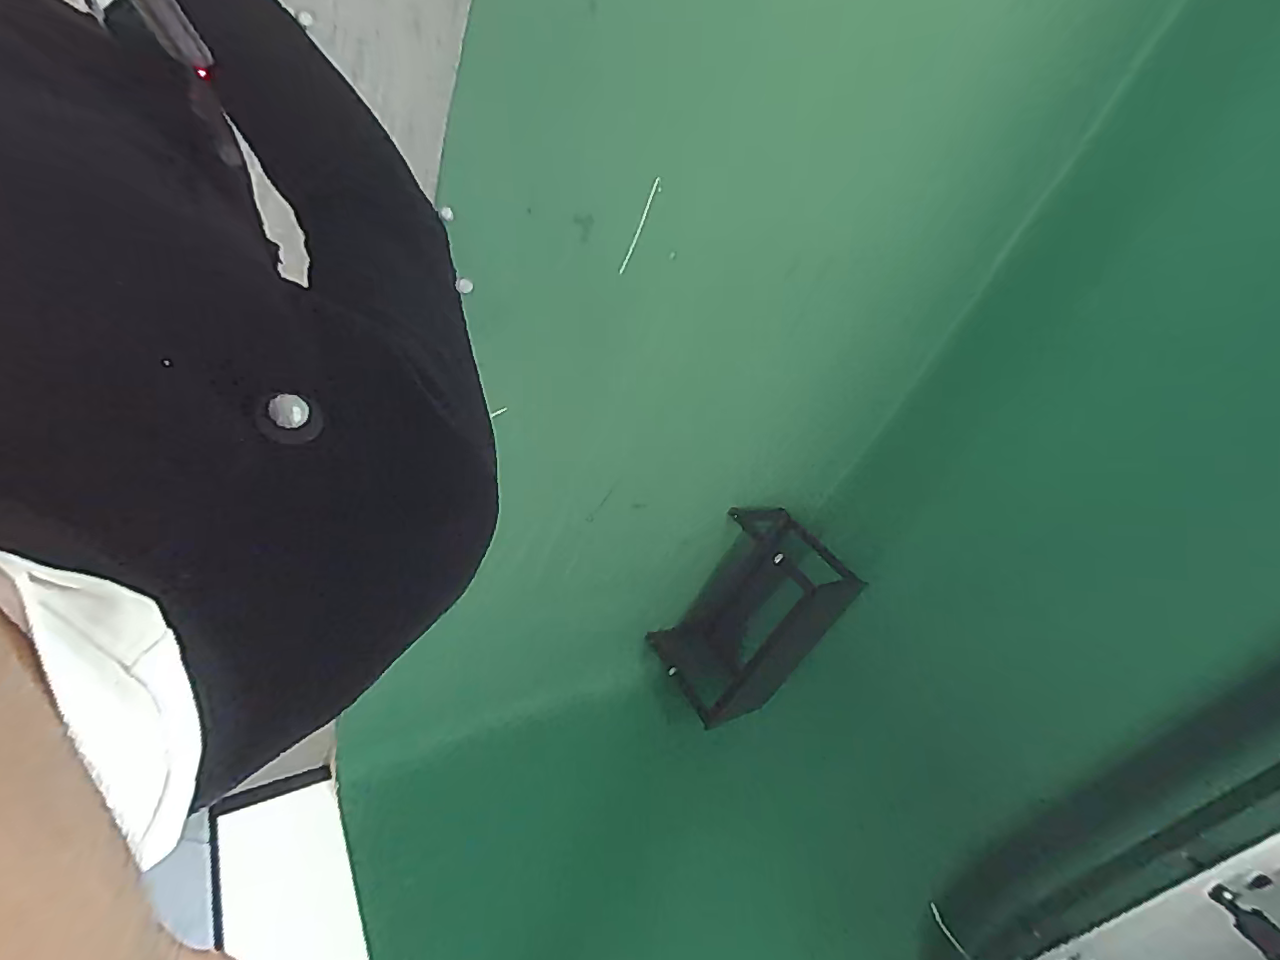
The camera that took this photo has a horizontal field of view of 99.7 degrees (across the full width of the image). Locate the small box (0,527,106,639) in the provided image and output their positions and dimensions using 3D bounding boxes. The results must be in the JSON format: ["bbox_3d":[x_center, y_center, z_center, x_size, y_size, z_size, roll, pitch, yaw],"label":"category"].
[{"bbox_3d":[-1.317,0.223,1.205,0.168,0.176,0.179,1,126,-41],"label":"small box"}]
